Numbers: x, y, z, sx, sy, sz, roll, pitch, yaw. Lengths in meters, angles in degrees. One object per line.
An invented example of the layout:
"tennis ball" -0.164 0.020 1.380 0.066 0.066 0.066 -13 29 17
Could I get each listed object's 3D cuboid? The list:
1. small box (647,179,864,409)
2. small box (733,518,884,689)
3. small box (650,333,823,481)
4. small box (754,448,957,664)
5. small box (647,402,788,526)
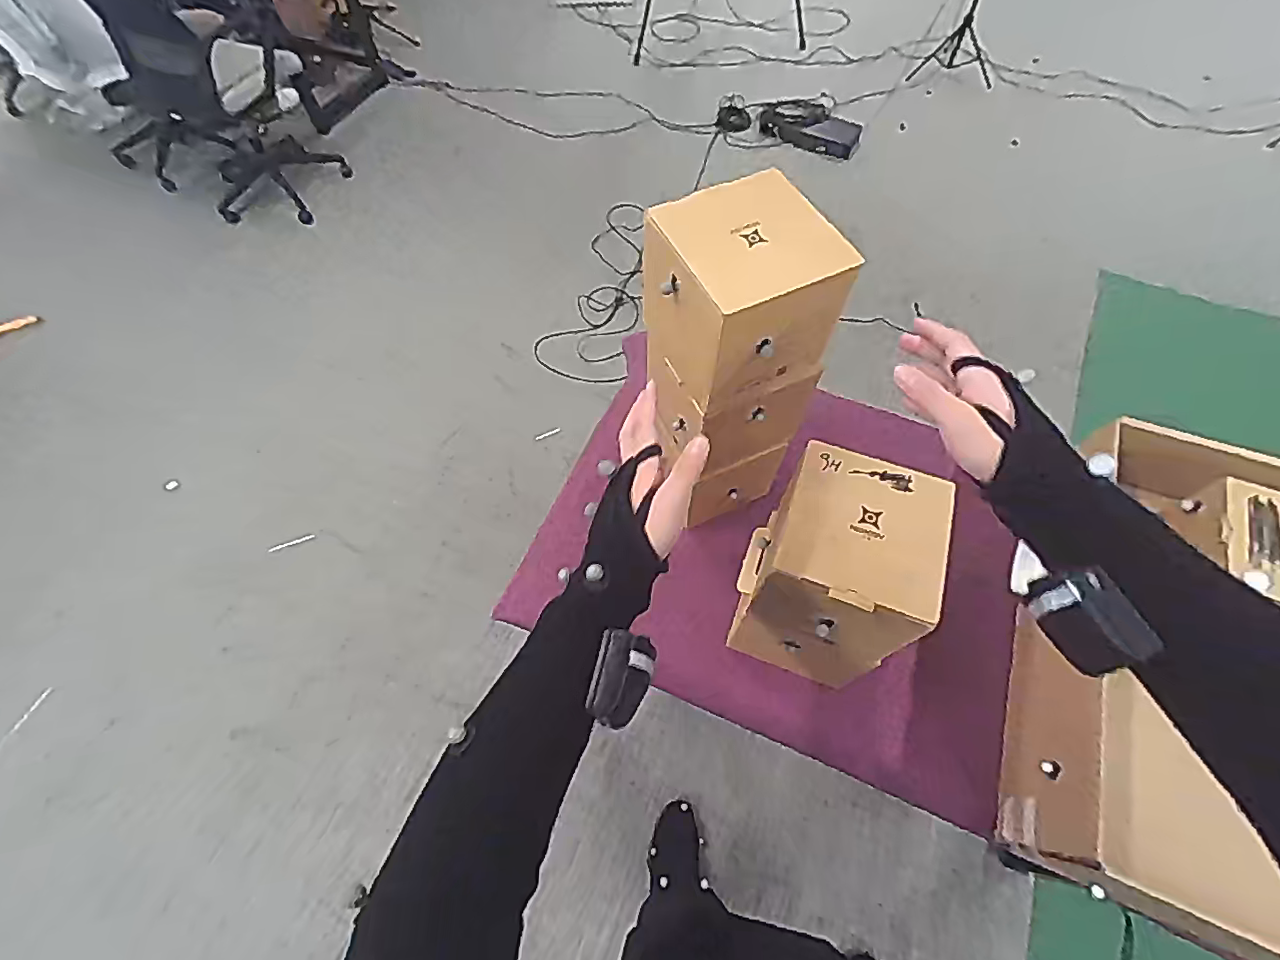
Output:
"small box" 0.119 -0.205 0.632 0.168 0.176 0.179 -24 63 -11
"small box" 0.245 0.185 0.780 0.179 0.176 0.168 18 61 11
"small box" 0.125 -0.123 0.772 0.179 0.176 0.168 -21 64 -11
"small box" 0.243 0.097 0.642 0.168 0.176 0.179 19 62 10
"small box" 0.121 -0.041 0.913 0.168 0.176 0.179 -21 62 -12
